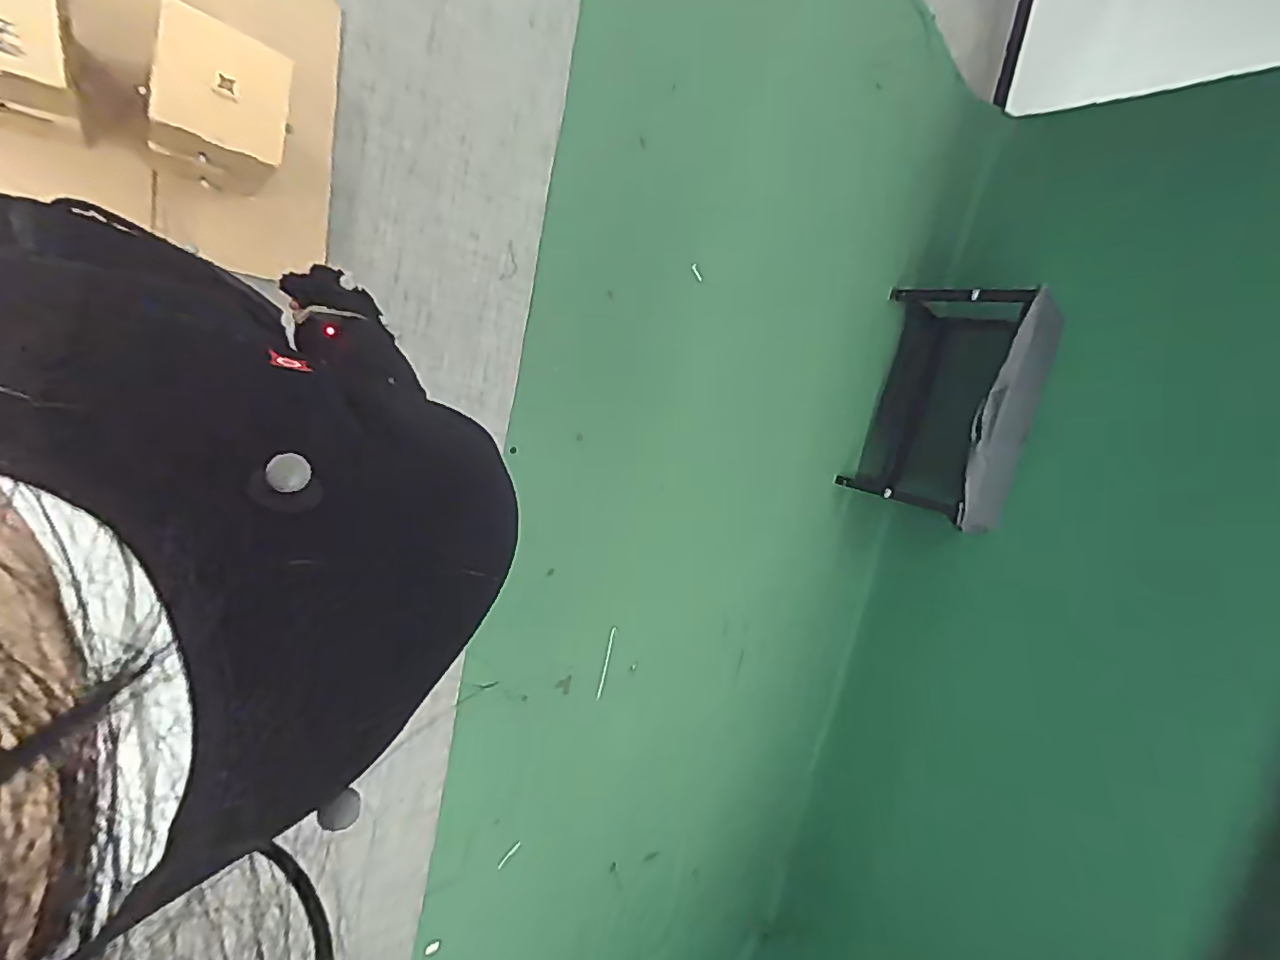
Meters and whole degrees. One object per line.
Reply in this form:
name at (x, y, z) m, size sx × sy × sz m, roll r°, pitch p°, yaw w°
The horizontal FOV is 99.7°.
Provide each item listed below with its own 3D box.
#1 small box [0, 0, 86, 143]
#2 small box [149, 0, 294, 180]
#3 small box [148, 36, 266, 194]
small box at (-0.987, -0.652, 0.837) m, size 0.168 × 0.176 × 0.179 m, roll -5°, pitch 107°, yaw -42°
small box at (-0.695, -0.630, 0.894) m, size 0.168 × 0.176 × 0.179 m, roll 5°, pitch 101°, yaw -43°
small box at (-0.805, -0.662, 1.009) m, size 0.168 × 0.176 × 0.179 m, roll 1°, pitch 104°, yaw -42°
